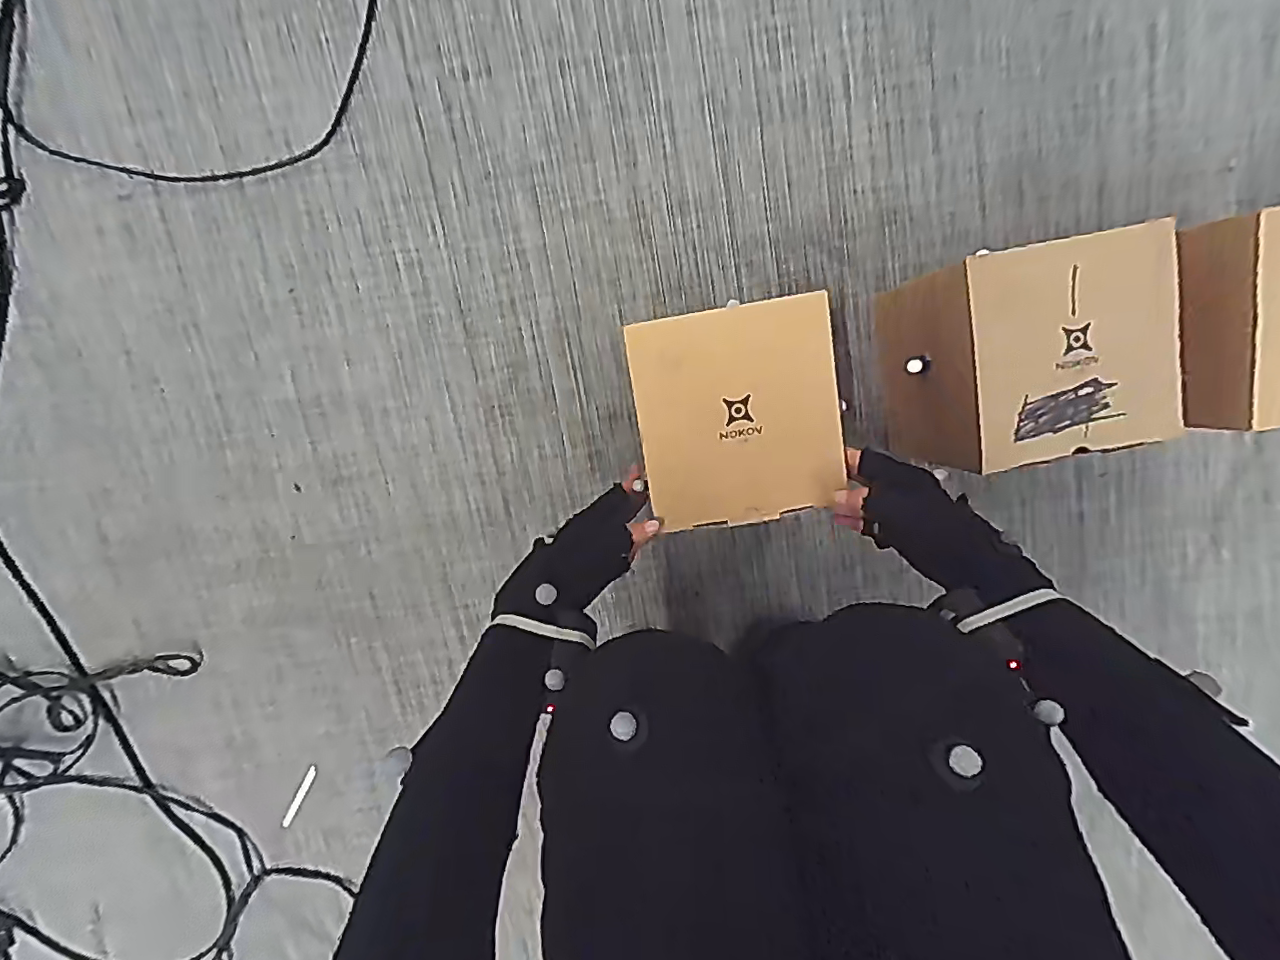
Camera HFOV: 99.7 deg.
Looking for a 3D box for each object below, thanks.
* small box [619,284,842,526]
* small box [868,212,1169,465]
[{"bbox_3d":[0.074,-0.070,0.518,0.168,0.176,0.179,-10,99,1],"label":"small box"},{"bbox_3d":[0.335,-0.122,0.509,0.168,0.176,0.179,-10,98,2],"label":"small box"}]
